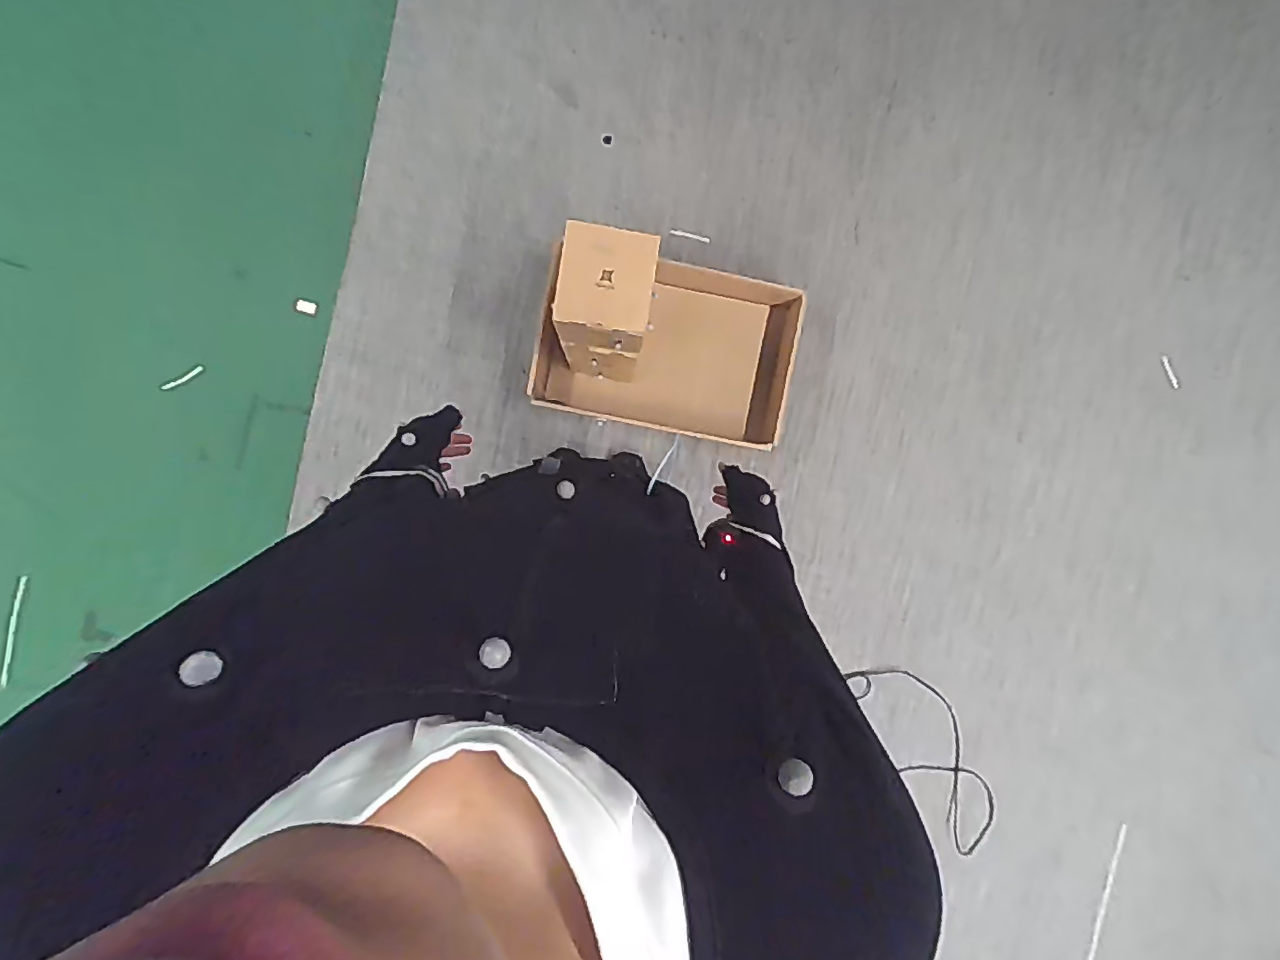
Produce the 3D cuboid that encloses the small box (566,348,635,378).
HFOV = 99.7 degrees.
[{"bbox_3d":[-0.079,-0.362,1.327,0.168,0.176,0.179,12,92,-3],"label":"small box"}]

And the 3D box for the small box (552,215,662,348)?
[{"bbox_3d":[-0.061,-0.354,1.001,0.168,0.176,0.179,10,92,-5],"label":"small box"}]

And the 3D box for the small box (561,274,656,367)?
[{"bbox_3d":[-0.069,-0.356,1.164,0.168,0.176,0.179,11,92,-4],"label":"small box"}]
